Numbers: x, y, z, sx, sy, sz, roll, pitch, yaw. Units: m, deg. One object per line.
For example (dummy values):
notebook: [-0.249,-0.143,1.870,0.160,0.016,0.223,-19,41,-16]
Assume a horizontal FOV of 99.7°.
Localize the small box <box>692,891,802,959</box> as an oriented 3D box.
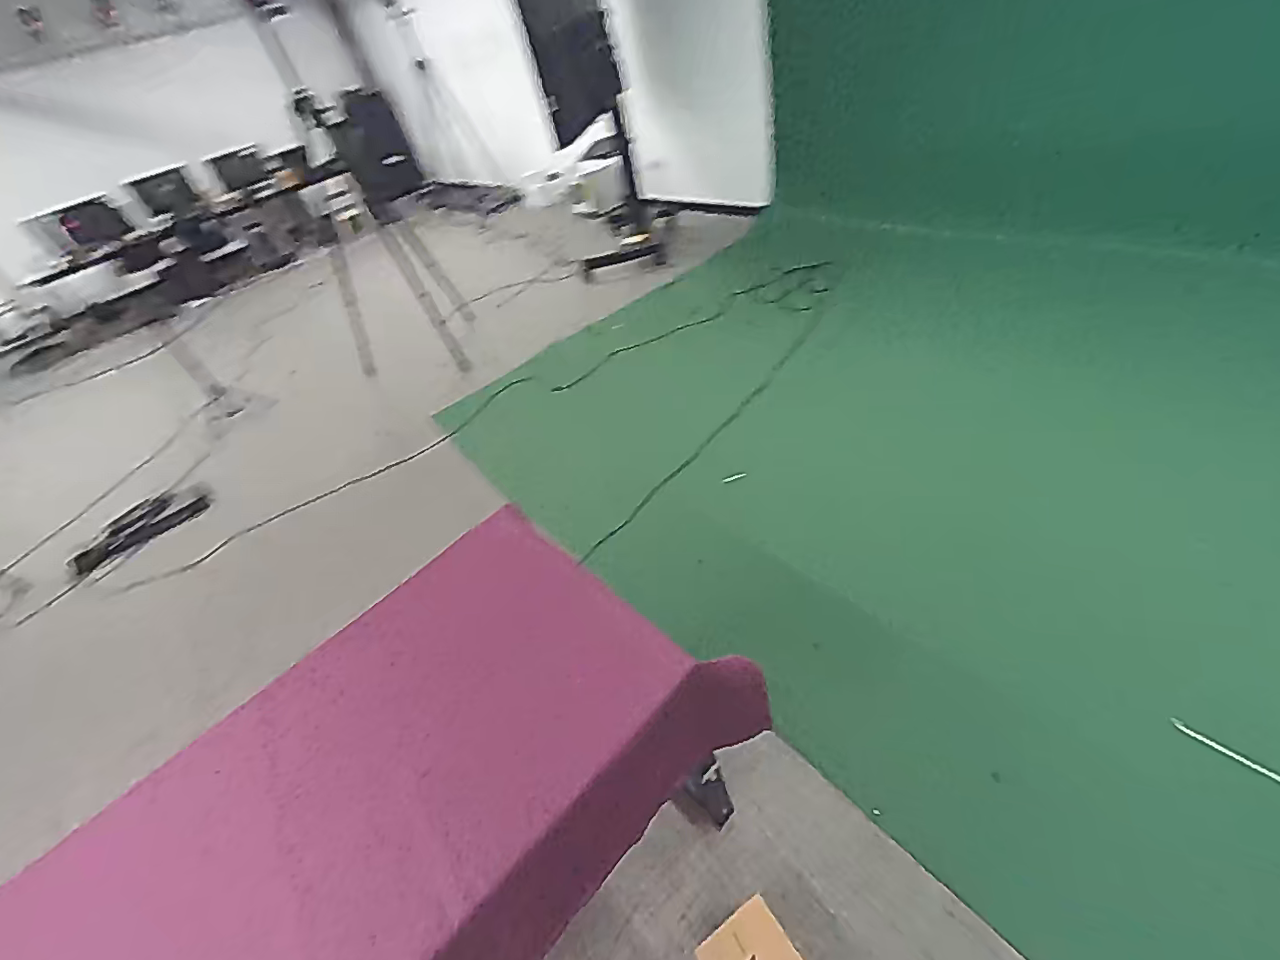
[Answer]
small box: [0.228,0.960,1.055,0.168,0.176,0.179,-31,42,-16]
